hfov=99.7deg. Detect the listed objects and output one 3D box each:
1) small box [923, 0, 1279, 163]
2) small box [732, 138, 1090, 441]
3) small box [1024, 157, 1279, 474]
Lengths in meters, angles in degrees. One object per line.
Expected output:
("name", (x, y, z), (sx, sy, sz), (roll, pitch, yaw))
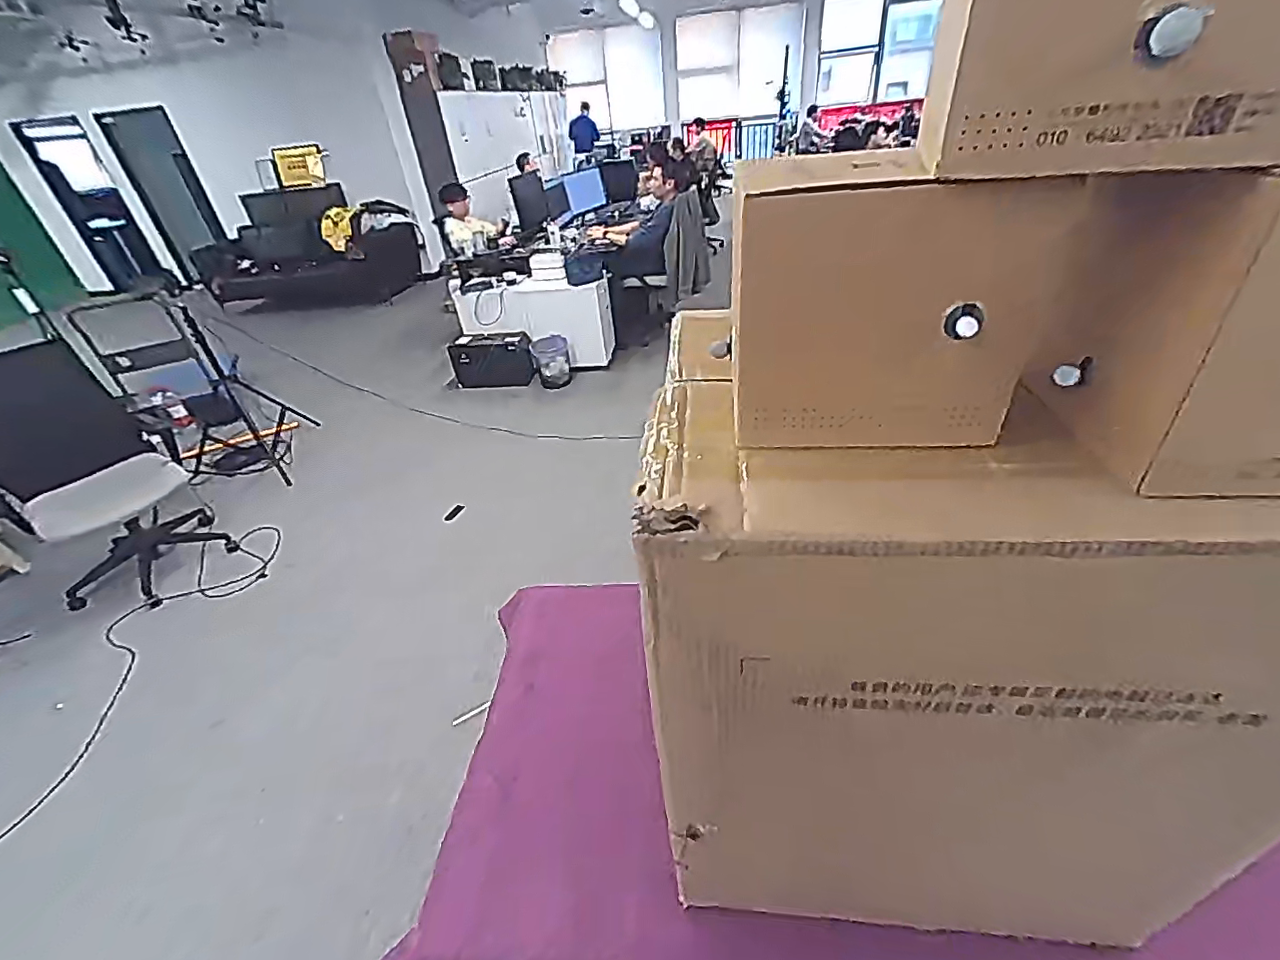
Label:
("small box", (0.249, -0.261, 0.266), (0.168, 0.176, 0.179), (7, 37, 19))
("small box", (0.158, -0.139, 0.393), (0.179, 0.176, 0.168), (-1, 35, 8))
("small box", (0.371, -0.112, 0.321), (0.168, 0.176, 0.179), (-1, 35, 10))
